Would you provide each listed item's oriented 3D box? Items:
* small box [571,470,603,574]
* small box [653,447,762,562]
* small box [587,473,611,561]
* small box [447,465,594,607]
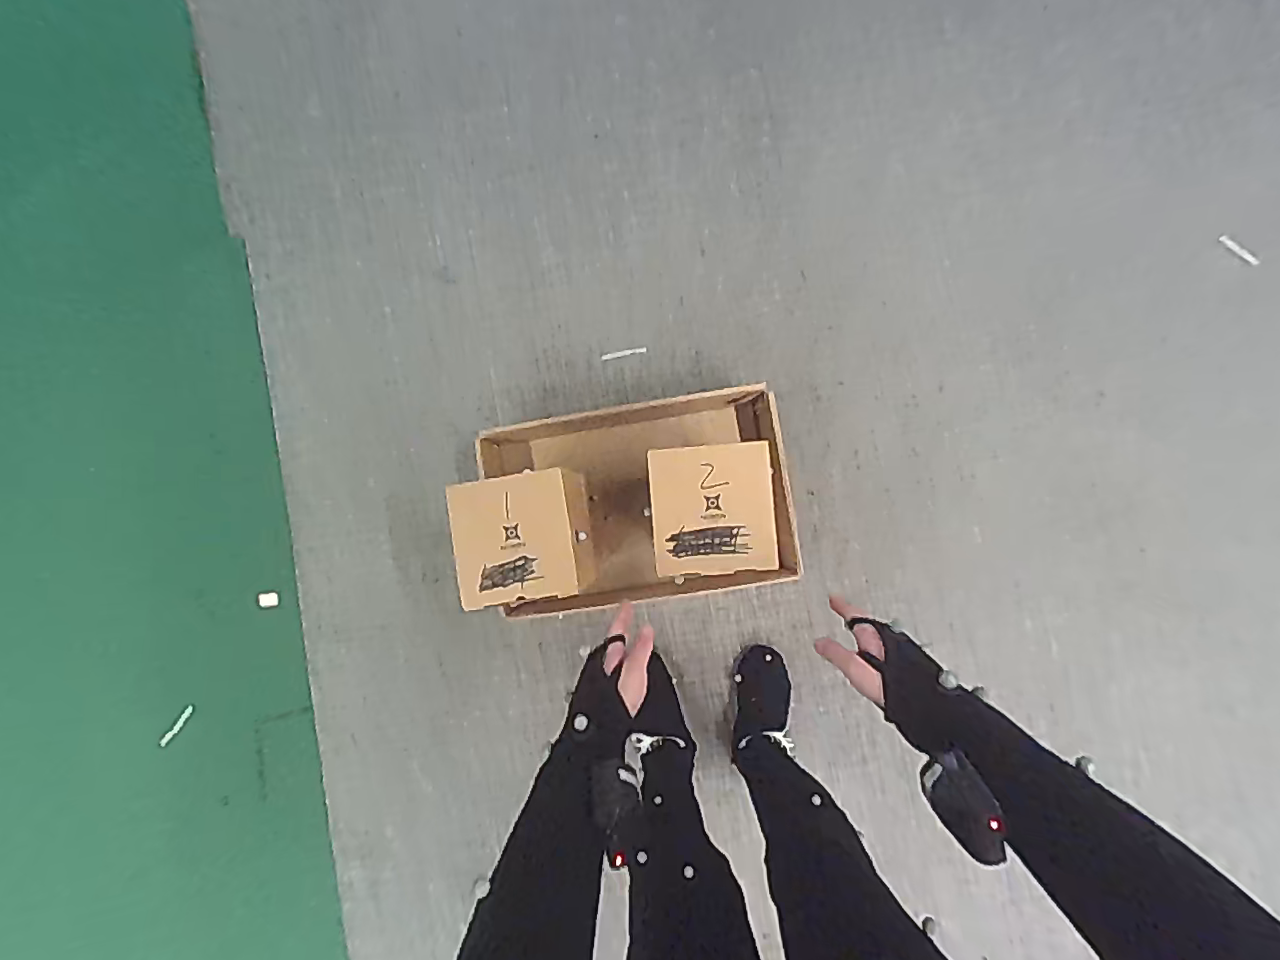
[{"bbox_3d":[-0.162,0.082,0.975,0.168,0.176,0.179,-7,88,2],"label":"small box"},{"bbox_3d":[0.112,0.044,0.965,0.168,0.176,0.179,-7,89,3],"label":"small box"},{"bbox_3d":[-0.156,0.086,1.137,0.168,0.176,0.179,-7,87,2],"label":"small box"},{"bbox_3d":[-0.168,0.078,0.810,0.168,0.176,0.179,-9,87,2],"label":"small box"}]
